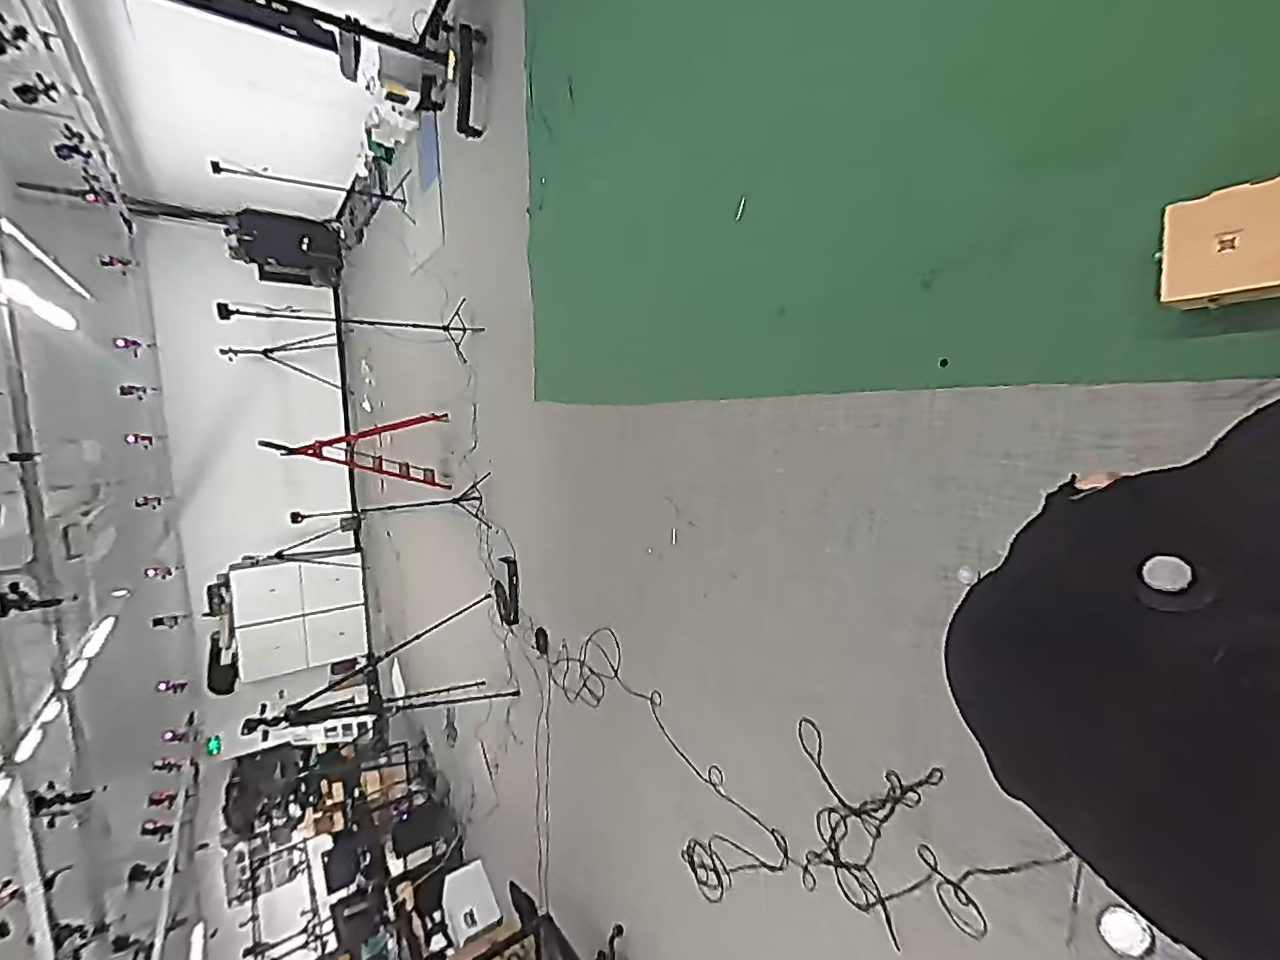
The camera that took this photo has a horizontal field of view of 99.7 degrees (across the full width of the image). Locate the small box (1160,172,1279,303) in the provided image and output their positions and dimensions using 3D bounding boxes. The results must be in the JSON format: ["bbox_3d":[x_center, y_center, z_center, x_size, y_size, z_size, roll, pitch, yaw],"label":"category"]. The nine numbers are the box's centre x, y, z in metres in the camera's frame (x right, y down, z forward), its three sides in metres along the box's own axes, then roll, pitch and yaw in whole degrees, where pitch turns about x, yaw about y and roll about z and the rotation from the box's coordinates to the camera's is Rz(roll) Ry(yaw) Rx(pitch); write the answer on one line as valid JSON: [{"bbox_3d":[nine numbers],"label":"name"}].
[{"bbox_3d":[1.075,-0.424,0.974,0.168,0.176,0.179,5,99,54],"label":"small box"}]
